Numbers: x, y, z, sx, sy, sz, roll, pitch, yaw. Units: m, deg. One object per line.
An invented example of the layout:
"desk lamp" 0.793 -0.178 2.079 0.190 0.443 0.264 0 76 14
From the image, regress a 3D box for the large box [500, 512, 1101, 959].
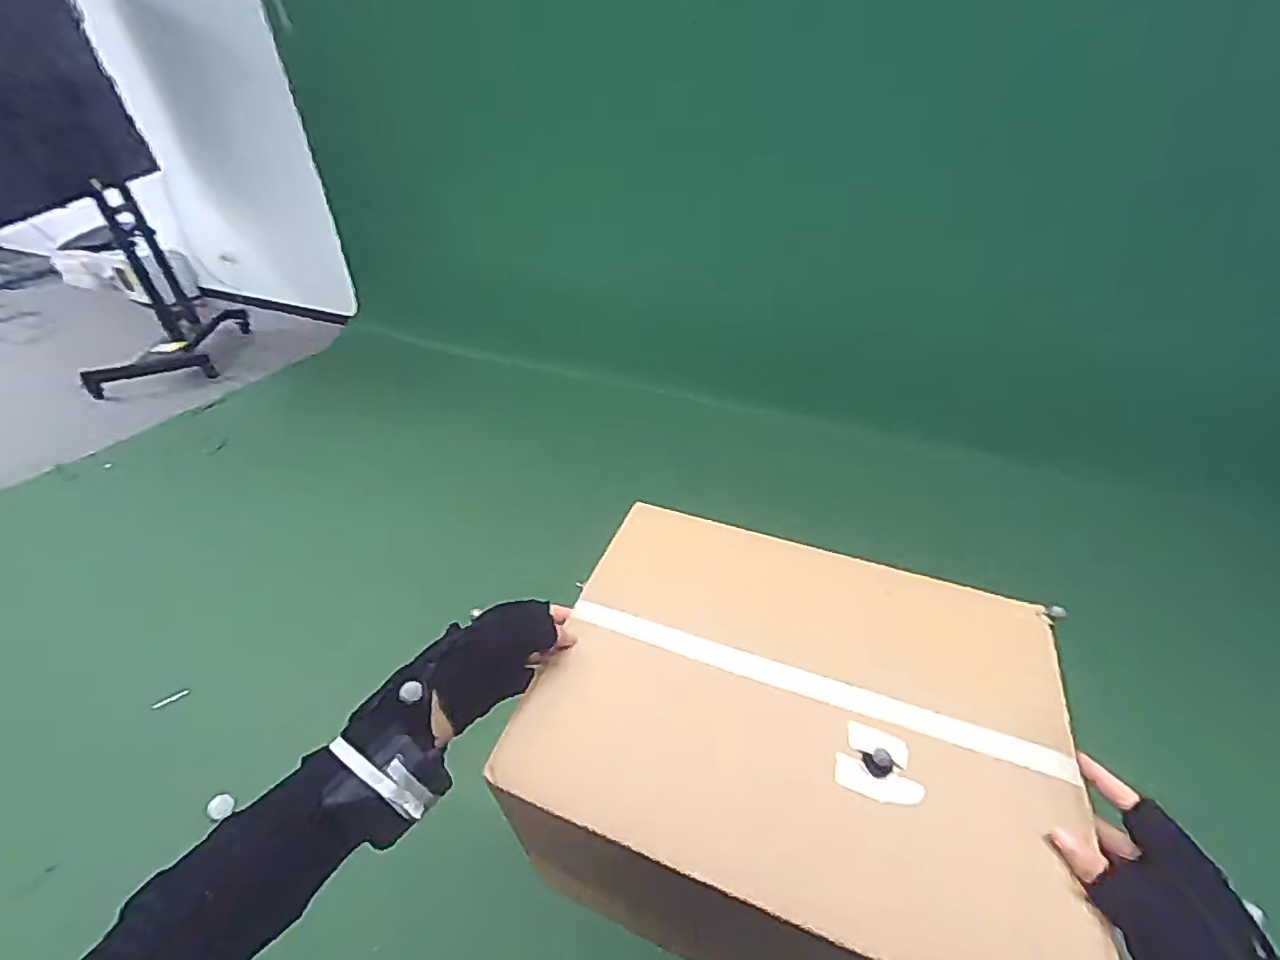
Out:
"large box" 0.131 0.283 0.553 0.408 0.320 0.320 14 44 17
